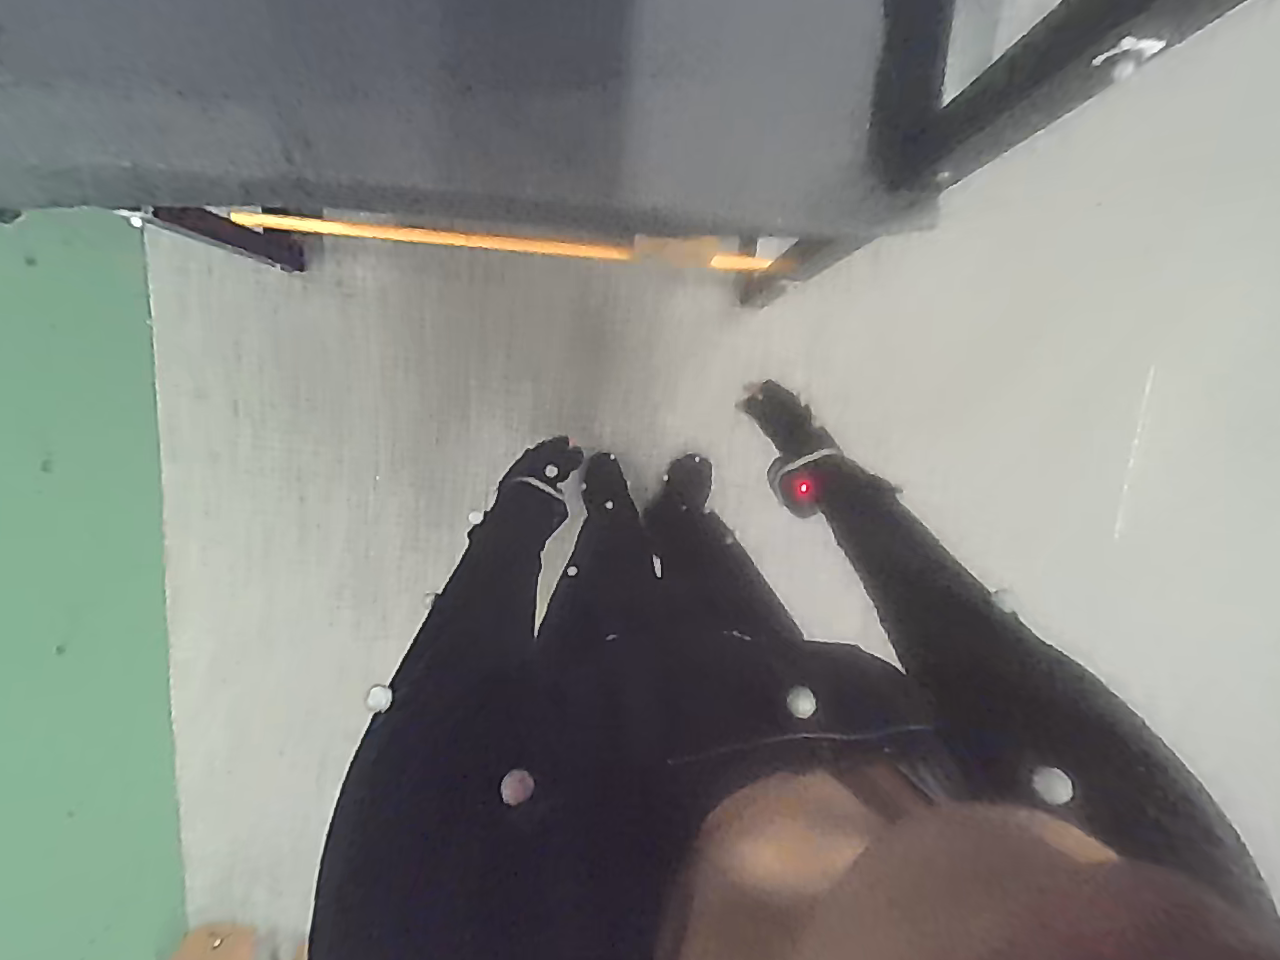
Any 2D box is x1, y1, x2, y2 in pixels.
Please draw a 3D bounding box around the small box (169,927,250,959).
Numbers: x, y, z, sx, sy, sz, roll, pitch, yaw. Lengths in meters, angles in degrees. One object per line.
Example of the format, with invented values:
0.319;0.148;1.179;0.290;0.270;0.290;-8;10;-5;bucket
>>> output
-1.231;1.412;1.515;0.168;0.176;0.179;6;98;-3;small box
